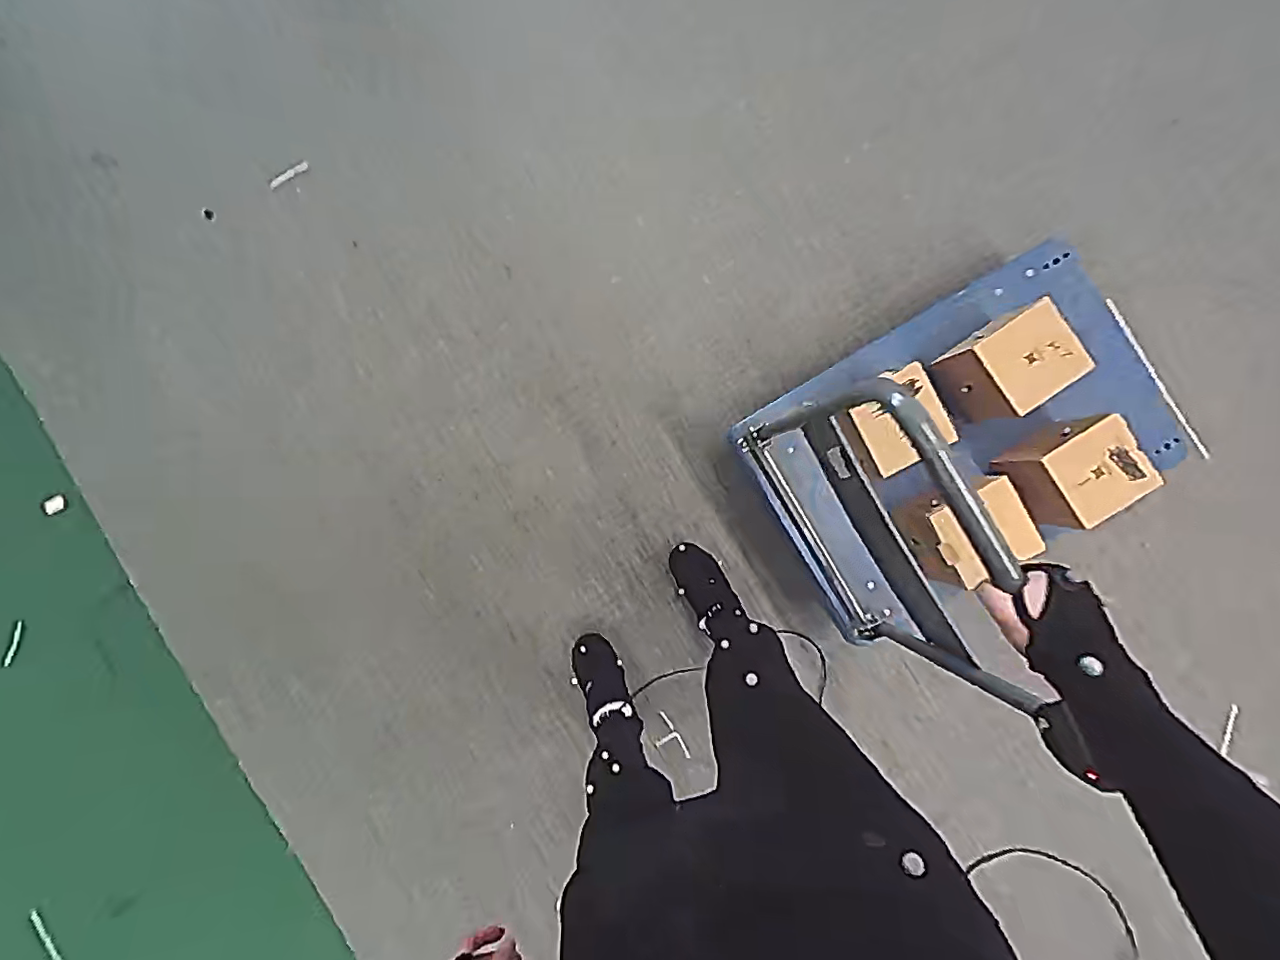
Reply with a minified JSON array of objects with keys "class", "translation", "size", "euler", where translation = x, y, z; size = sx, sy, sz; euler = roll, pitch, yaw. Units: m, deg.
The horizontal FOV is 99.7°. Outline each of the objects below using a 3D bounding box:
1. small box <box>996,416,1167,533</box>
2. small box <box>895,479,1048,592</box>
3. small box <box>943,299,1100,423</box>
[{"class":"small box","translation":[0.890,-0.012,1.109],"size":[0.179,0.176,0.168],"euler":[-31,89,2]},{"class":"small box","translation":[0.671,0.105,1.115],"size":[0.179,0.176,0.168],"euler":[-28,89,2]},{"class":"small box","translation":[0.763,-0.232,1.110],"size":[0.179,0.176,0.168],"euler":[-33,90,1]}]
